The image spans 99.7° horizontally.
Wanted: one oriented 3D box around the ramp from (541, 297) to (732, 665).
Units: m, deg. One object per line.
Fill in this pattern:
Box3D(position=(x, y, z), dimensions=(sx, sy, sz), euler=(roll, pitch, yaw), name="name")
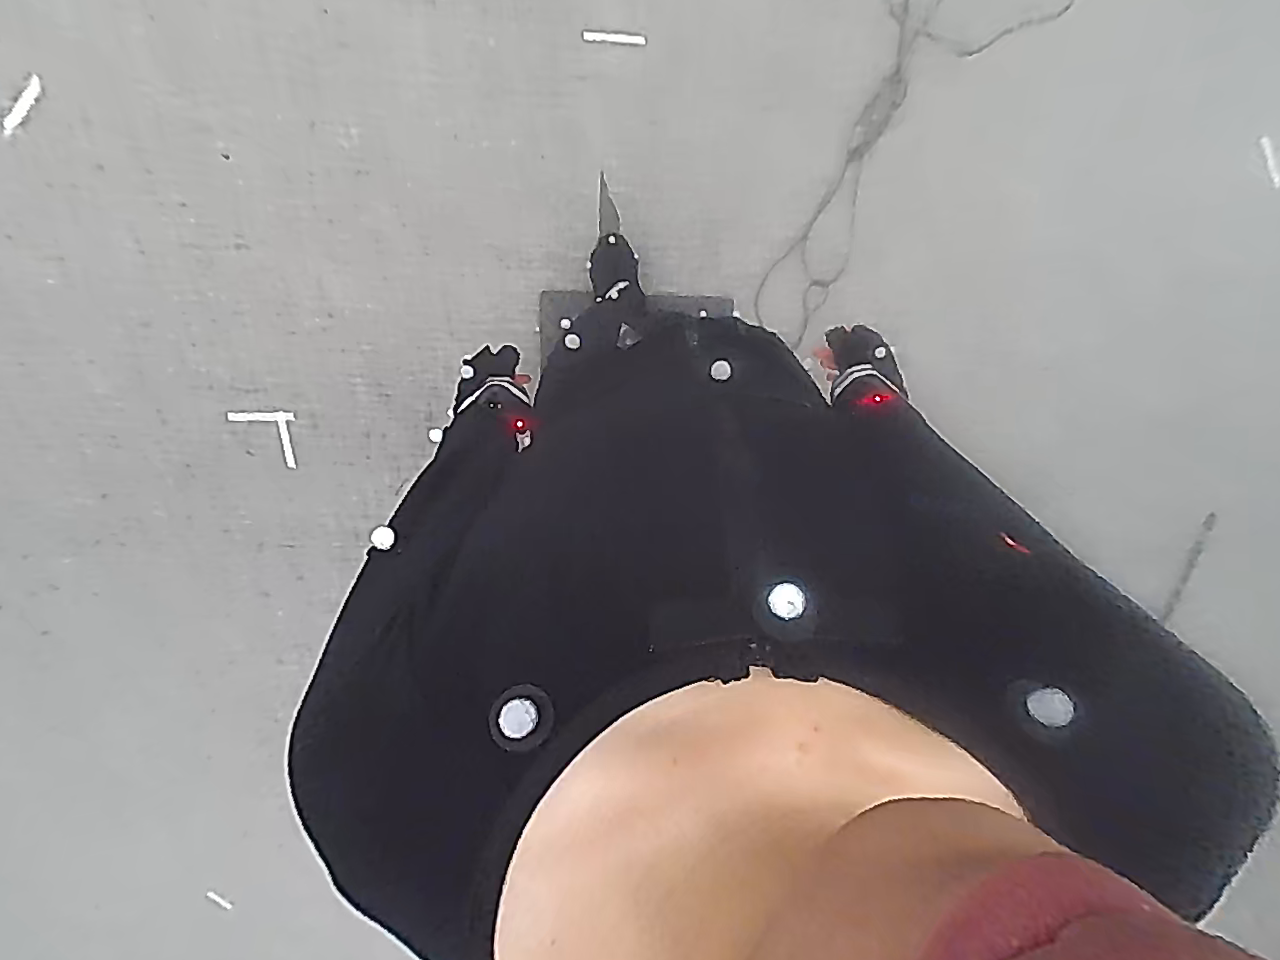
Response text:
Box3D(position=(-0.020, 0.029, 1.458), dimensions=(0.509, 0.206, 0.991), euler=(0, 109, -1), name="ramp")
